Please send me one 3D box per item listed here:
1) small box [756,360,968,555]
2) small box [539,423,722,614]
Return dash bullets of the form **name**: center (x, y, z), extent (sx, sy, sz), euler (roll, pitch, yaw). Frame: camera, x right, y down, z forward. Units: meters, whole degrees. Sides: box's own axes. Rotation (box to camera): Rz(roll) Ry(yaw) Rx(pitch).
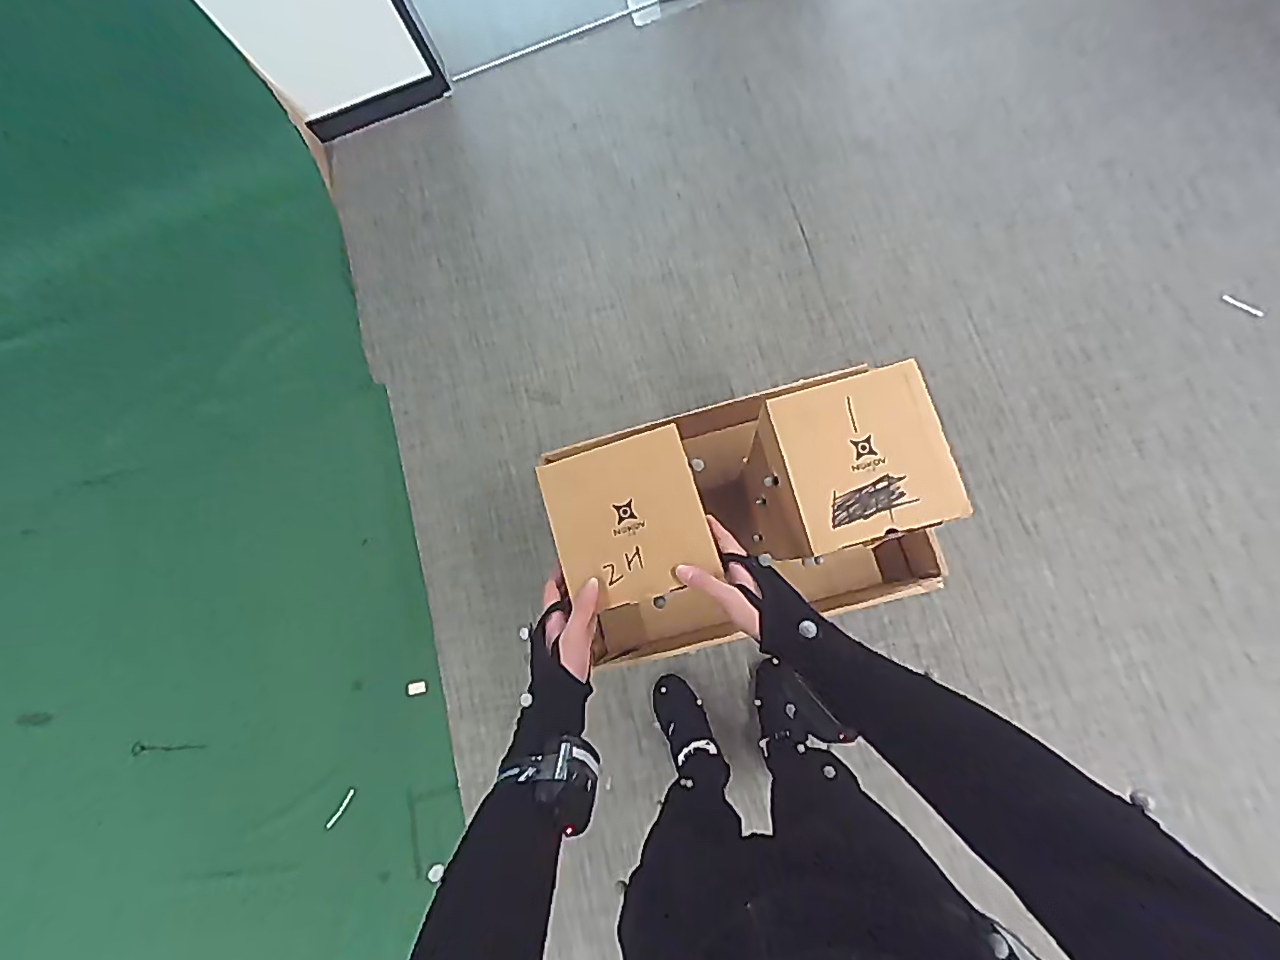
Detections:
- **small box**: center (0.243, -0.013, 0.640), extent (0.168, 0.176, 0.179), euler (-15, 78, 5)
- **small box**: center (-0.005, 0.054, 0.661), extent (0.168, 0.176, 0.179), euler (-17, 79, 4)
